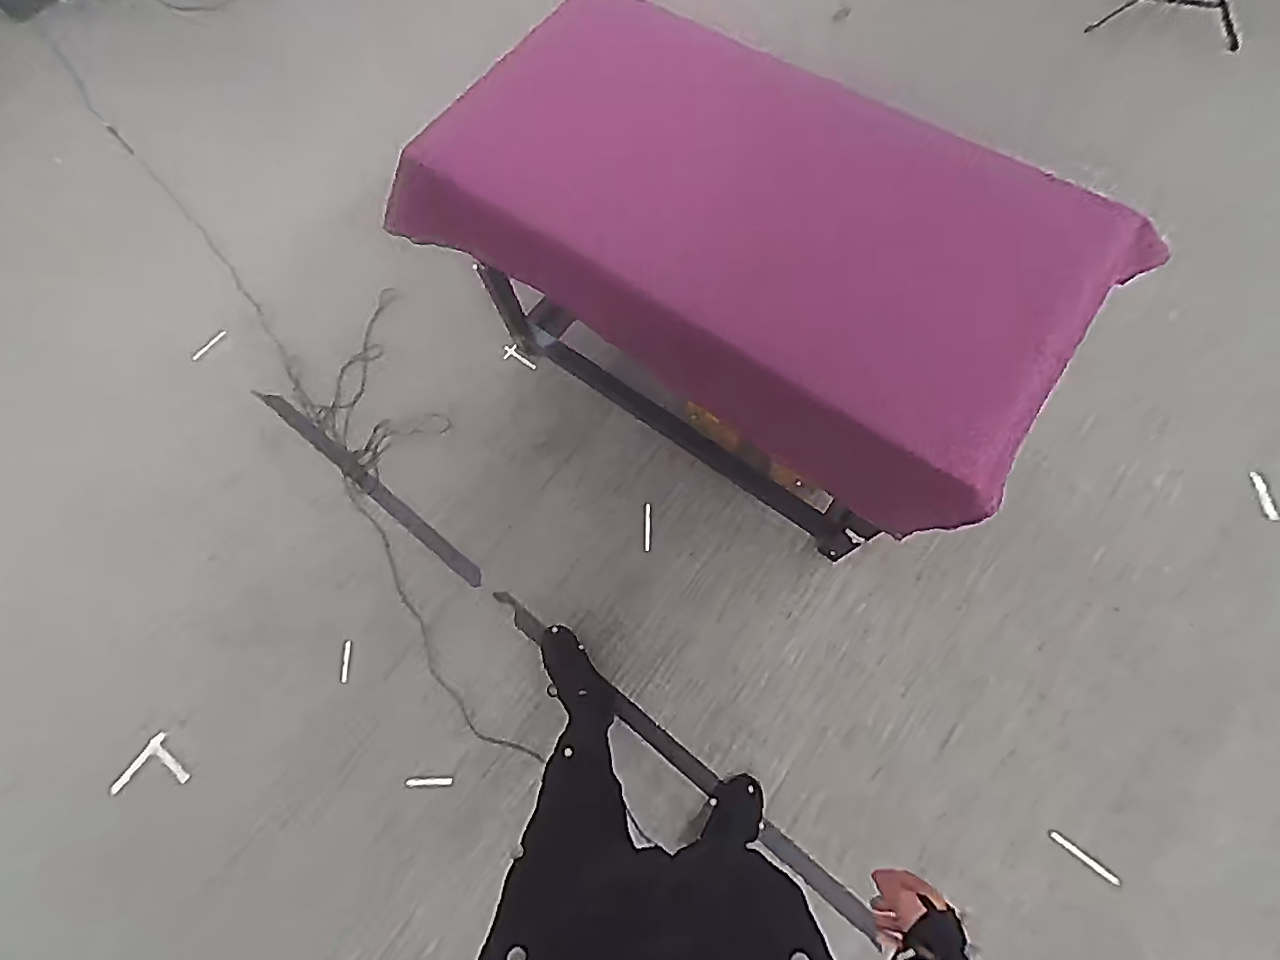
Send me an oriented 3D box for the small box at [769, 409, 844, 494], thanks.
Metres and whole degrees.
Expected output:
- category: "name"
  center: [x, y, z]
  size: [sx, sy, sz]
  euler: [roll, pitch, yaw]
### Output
- category: "small box"
  center: [0.457, -0.076, 1.500]
  size: [0.168, 0.176, 0.179]
  euler: [7, 71, 7]
